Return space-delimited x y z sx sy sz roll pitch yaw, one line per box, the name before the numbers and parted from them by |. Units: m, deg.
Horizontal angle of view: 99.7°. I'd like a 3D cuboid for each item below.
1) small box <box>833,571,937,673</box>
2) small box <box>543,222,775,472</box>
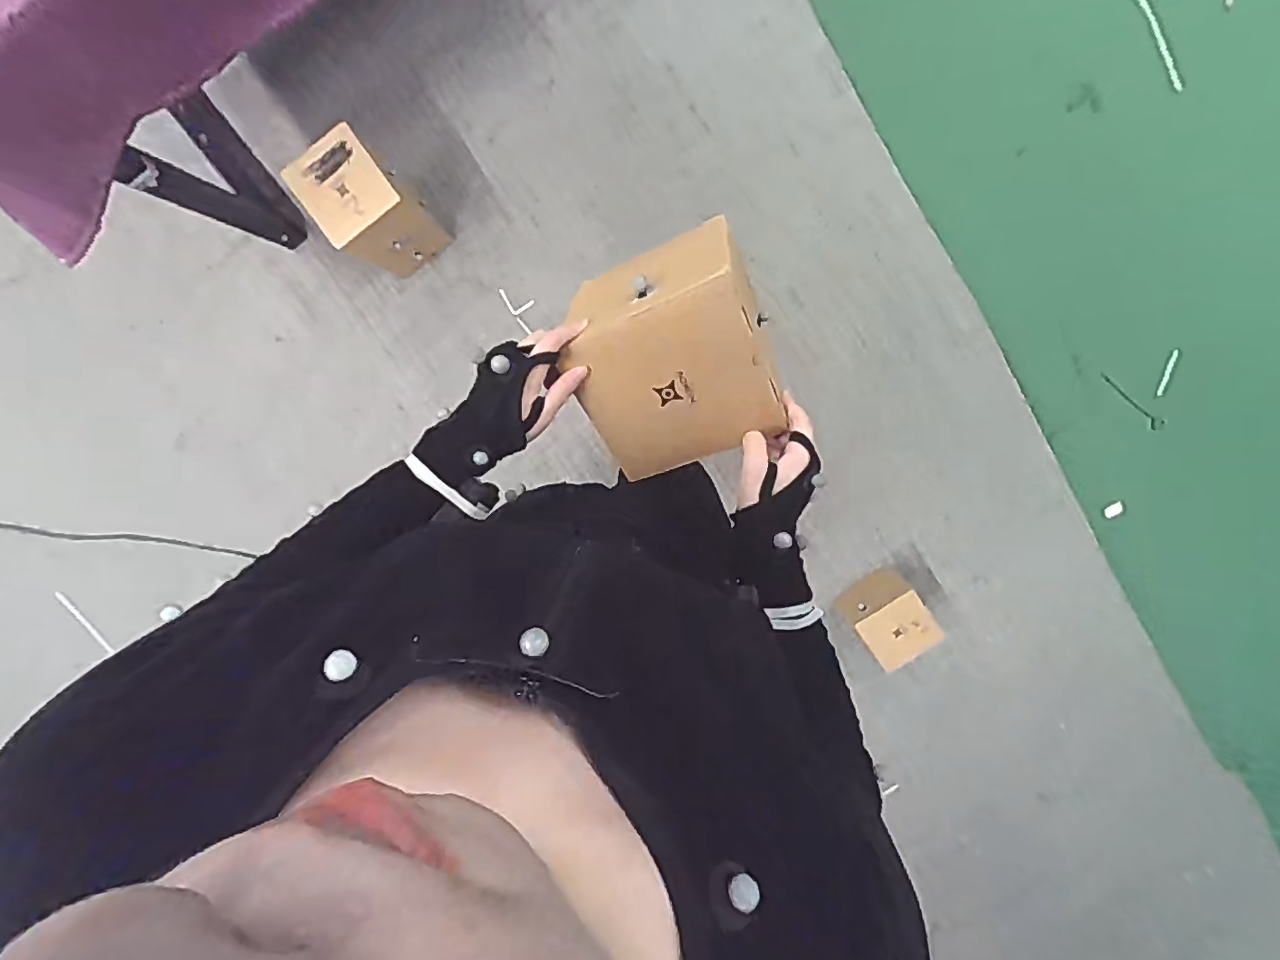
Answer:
small box | 0.642 0.374 1.449 0.179 0.176 0.168 -34 98 7
small box | 0.028 -0.141 0.571 0.179 0.176 0.168 -19 124 19
